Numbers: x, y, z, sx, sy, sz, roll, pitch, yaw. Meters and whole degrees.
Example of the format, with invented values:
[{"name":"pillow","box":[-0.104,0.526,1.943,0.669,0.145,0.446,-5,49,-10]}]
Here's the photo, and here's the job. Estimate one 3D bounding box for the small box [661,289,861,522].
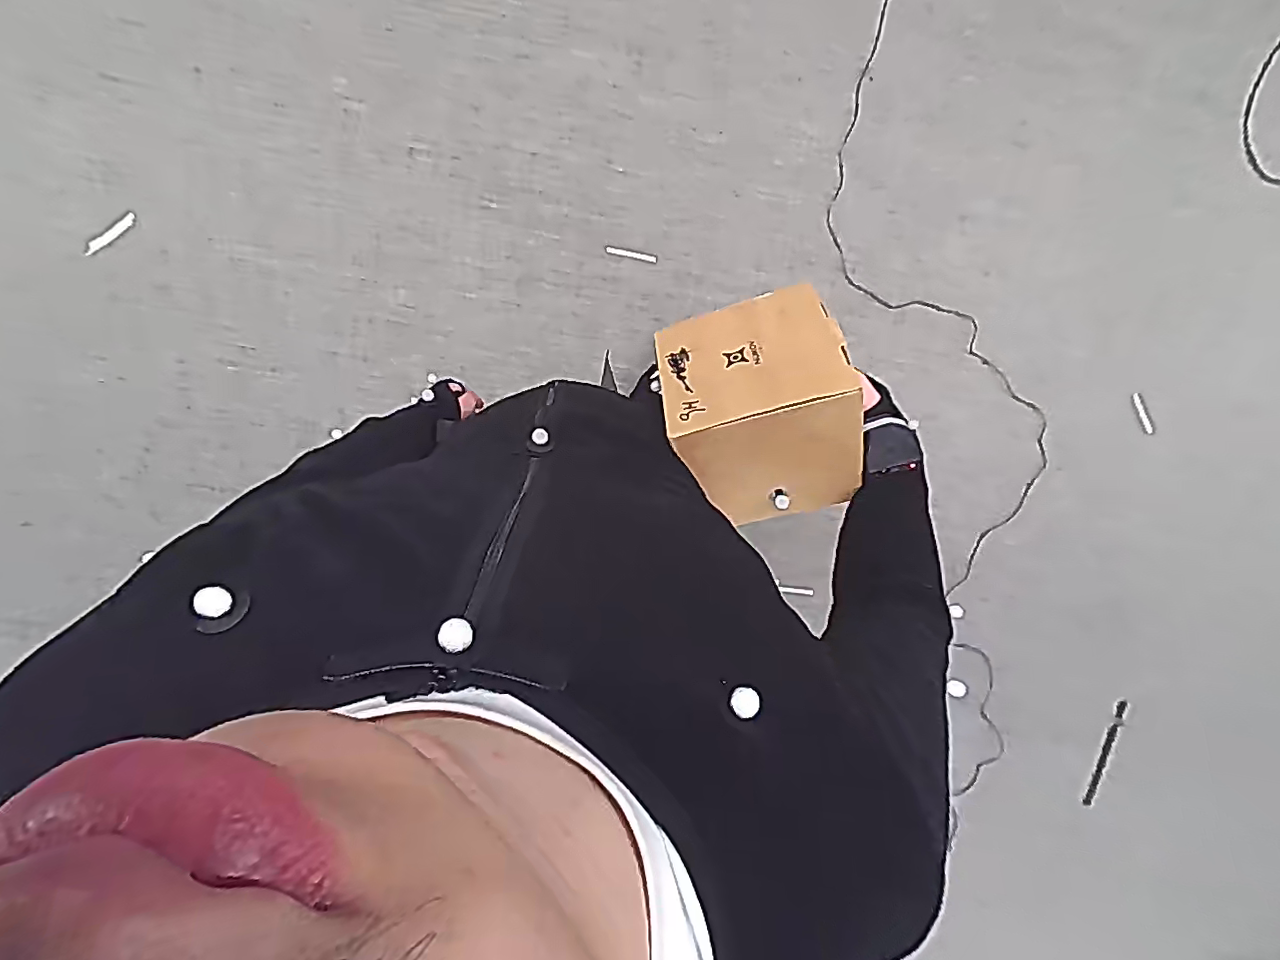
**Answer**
[{"name":"small box","box":[0.133,-0.076,0.607,0.179,0.168,0.176,-14,139,11]}]
